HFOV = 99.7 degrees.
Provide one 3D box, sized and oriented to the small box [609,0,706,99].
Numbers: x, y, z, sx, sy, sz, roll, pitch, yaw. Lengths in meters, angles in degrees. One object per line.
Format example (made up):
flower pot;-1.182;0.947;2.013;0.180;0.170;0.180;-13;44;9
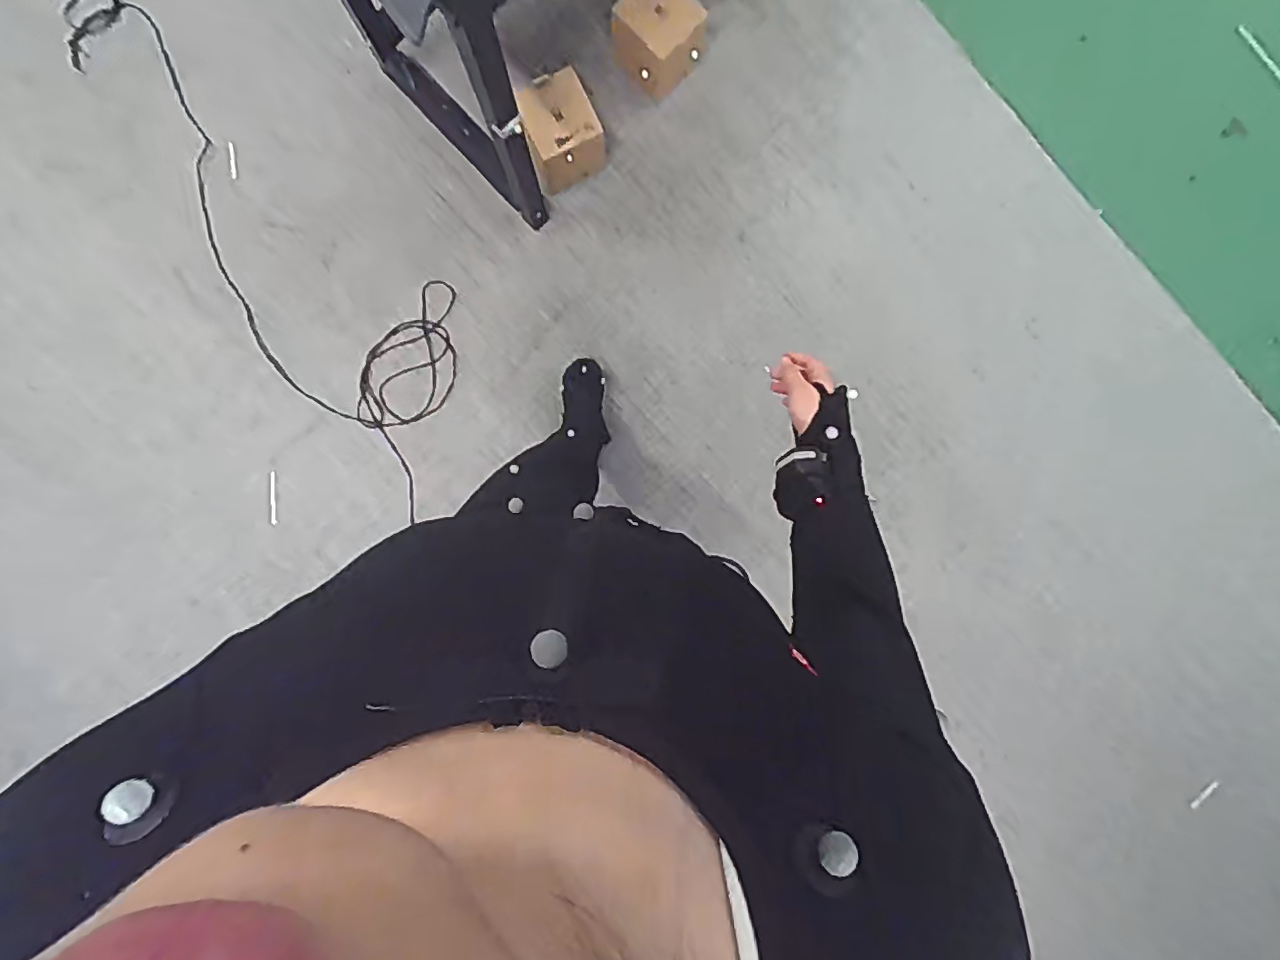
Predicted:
small box;0.040;-1.114;1.364;0.179;0.176;0.168;44;89;-3

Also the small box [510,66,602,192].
small box;-0.206;-0.872;1.360;0.168;0.176;0.179;-26;93;-2
